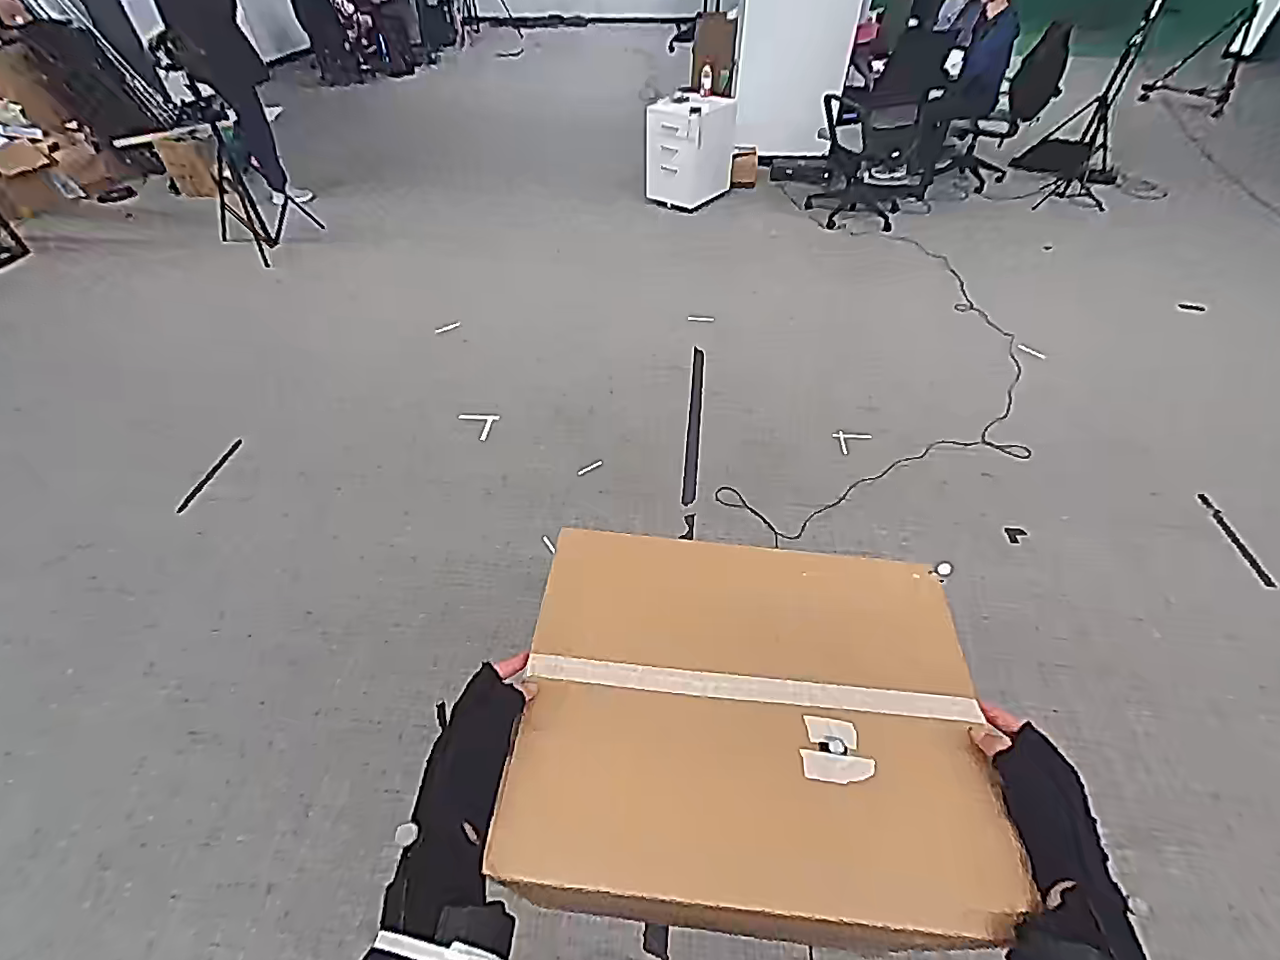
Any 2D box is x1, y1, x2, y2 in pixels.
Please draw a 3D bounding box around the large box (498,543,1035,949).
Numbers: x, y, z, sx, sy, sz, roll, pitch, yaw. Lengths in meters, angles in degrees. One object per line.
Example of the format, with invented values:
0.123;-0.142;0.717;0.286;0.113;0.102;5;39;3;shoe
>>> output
0.095;0.298;0.602;0.408;0.320;0.320;6;50;2;large box
